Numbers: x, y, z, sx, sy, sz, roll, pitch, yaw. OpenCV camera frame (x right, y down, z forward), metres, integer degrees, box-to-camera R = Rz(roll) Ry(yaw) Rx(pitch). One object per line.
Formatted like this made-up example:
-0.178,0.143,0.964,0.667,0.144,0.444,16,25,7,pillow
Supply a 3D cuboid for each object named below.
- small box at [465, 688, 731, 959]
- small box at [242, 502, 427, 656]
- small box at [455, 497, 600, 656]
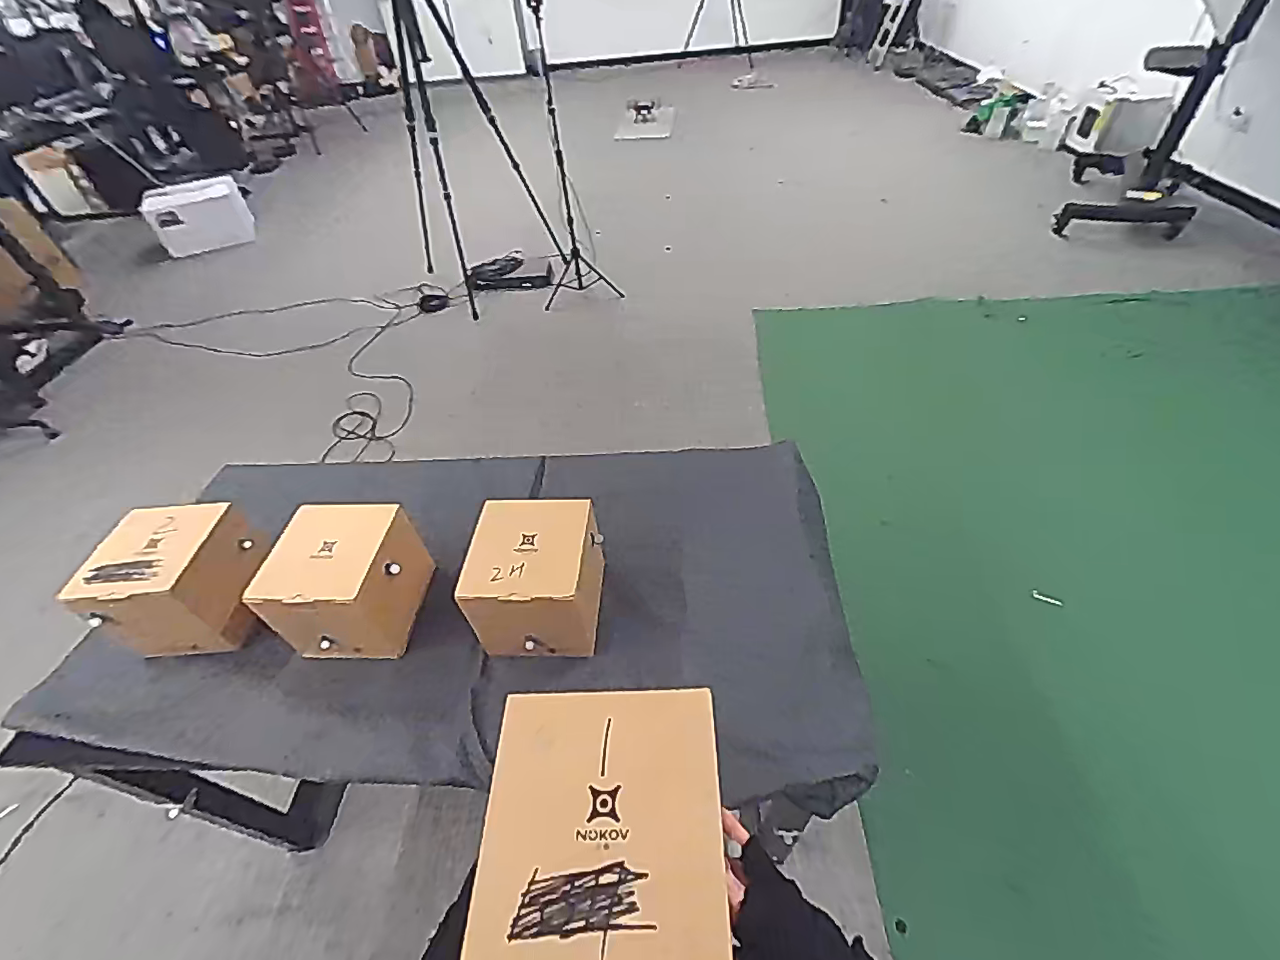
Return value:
-0.016,0.284,0.432,0.168,0.176,0.179,-2,47,4,small box
-0.453,0.153,0.842,0.168,0.176,0.179,0,47,4,small box
-0.155,0.145,0.821,0.168,0.176,0.179,0,46,5,small box
